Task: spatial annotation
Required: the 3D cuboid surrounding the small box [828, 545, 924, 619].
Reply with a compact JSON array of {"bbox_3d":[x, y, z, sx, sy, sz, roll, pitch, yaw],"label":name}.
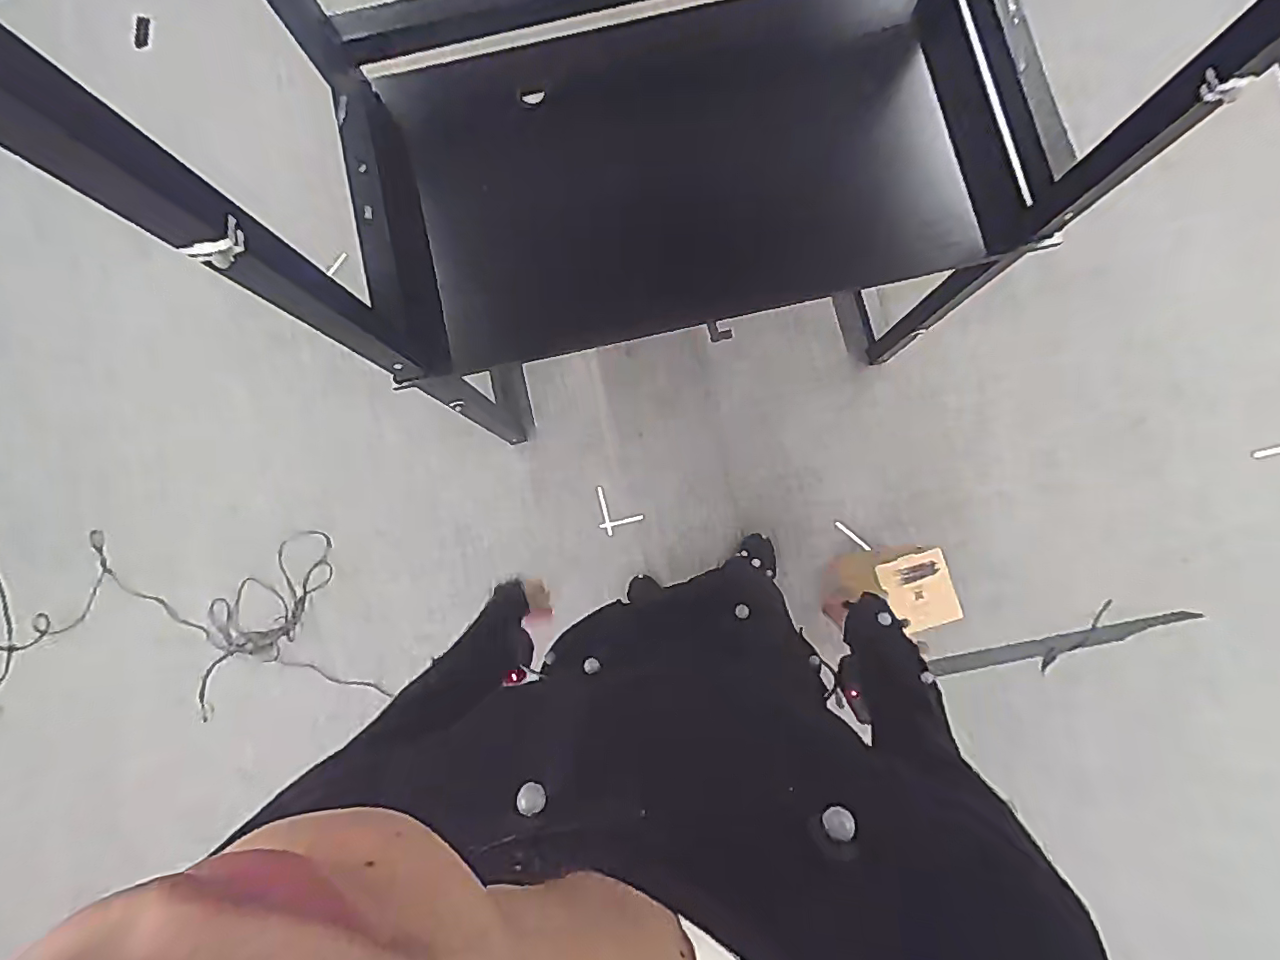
[{"bbox_3d":[0.660,0.281,1.529,0.179,0.176,0.168,-13,84,1],"label":"small box"}]
